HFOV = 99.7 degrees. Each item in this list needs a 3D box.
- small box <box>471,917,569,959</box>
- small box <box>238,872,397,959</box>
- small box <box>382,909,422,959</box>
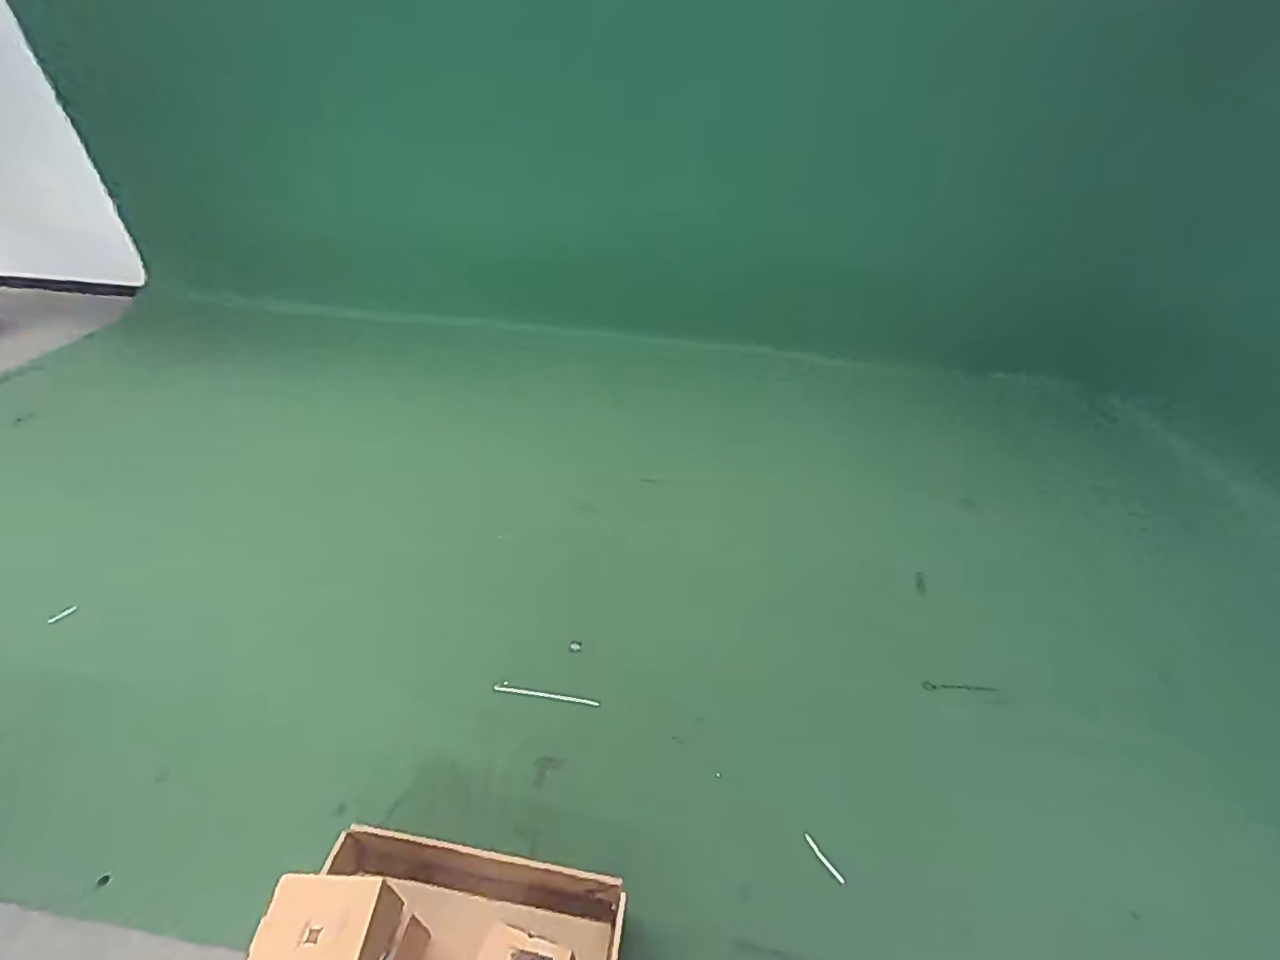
[{"bbox_3d":[-0.235,0.951,0.989,0.168,0.176,0.179,12,42,11],"label":"small box"},{"bbox_3d":[-0.538,0.784,0.910,0.179,0.176,0.168,4,41,-3],"label":"small box"},{"bbox_3d":[-0.542,0.910,1.016,0.179,0.176,0.168,8,41,7],"label":"small box"}]
